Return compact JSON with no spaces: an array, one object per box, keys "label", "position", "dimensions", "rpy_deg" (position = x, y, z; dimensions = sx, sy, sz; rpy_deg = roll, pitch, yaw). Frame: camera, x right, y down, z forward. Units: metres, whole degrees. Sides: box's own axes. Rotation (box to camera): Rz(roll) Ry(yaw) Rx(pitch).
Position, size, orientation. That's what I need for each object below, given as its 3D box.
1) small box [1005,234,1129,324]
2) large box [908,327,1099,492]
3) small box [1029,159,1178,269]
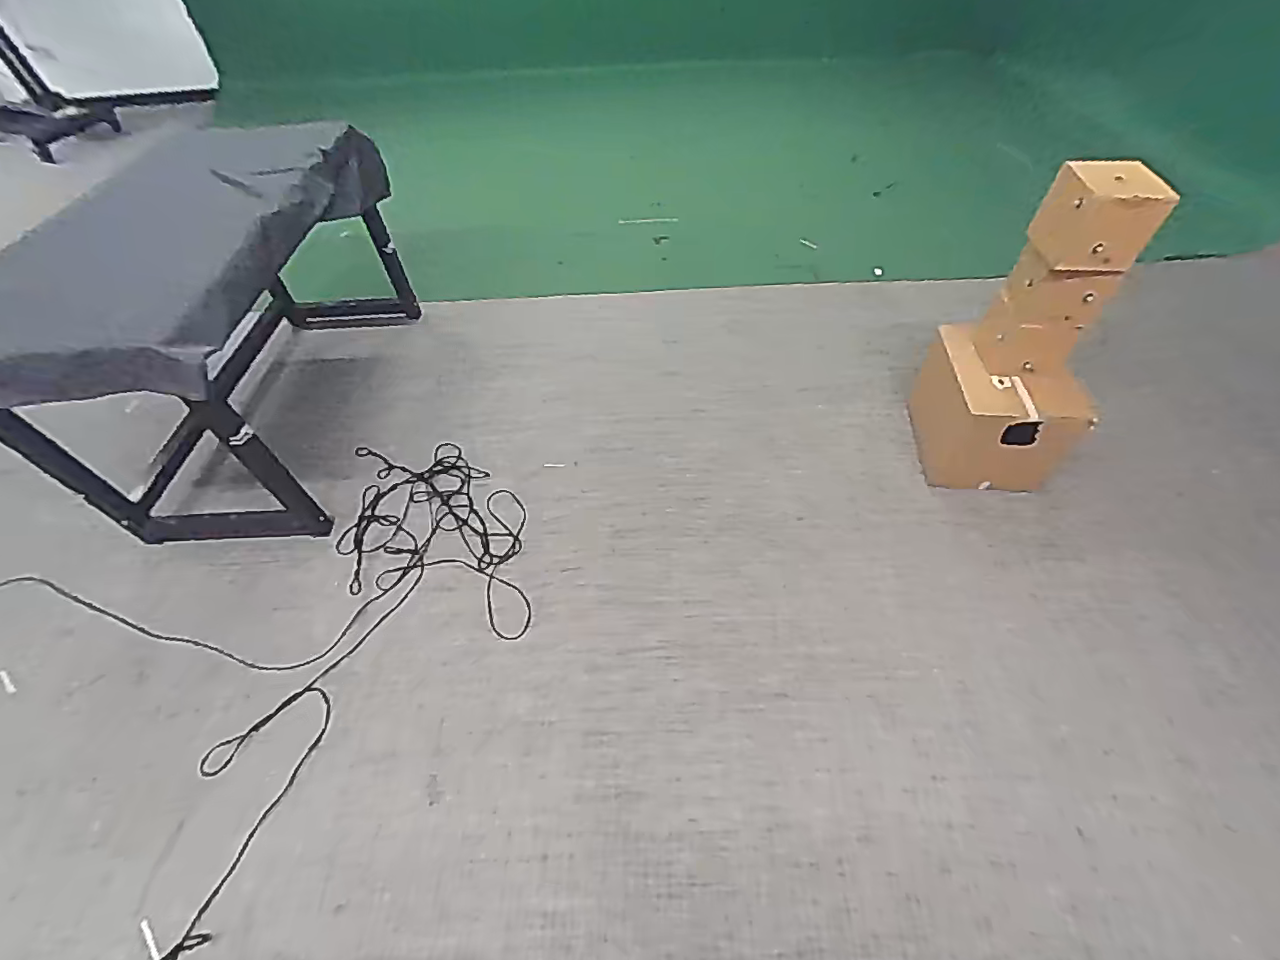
[{"label":"small box","position":[1.062,-0.513,1.364],"dimensions":[0.168,0.176,0.179],"rpy_deg":[7,51,8]},{"label":"large box","position":[1.064,-0.218,1.649],"dimensions":[0.320,0.320,0.408],"rpy_deg":[2,52,7]},{"label":"small box","position":[1.035,-0.605,1.230],"dimensions":[0.168,0.176,0.179],"rpy_deg":[2,52,4]}]
